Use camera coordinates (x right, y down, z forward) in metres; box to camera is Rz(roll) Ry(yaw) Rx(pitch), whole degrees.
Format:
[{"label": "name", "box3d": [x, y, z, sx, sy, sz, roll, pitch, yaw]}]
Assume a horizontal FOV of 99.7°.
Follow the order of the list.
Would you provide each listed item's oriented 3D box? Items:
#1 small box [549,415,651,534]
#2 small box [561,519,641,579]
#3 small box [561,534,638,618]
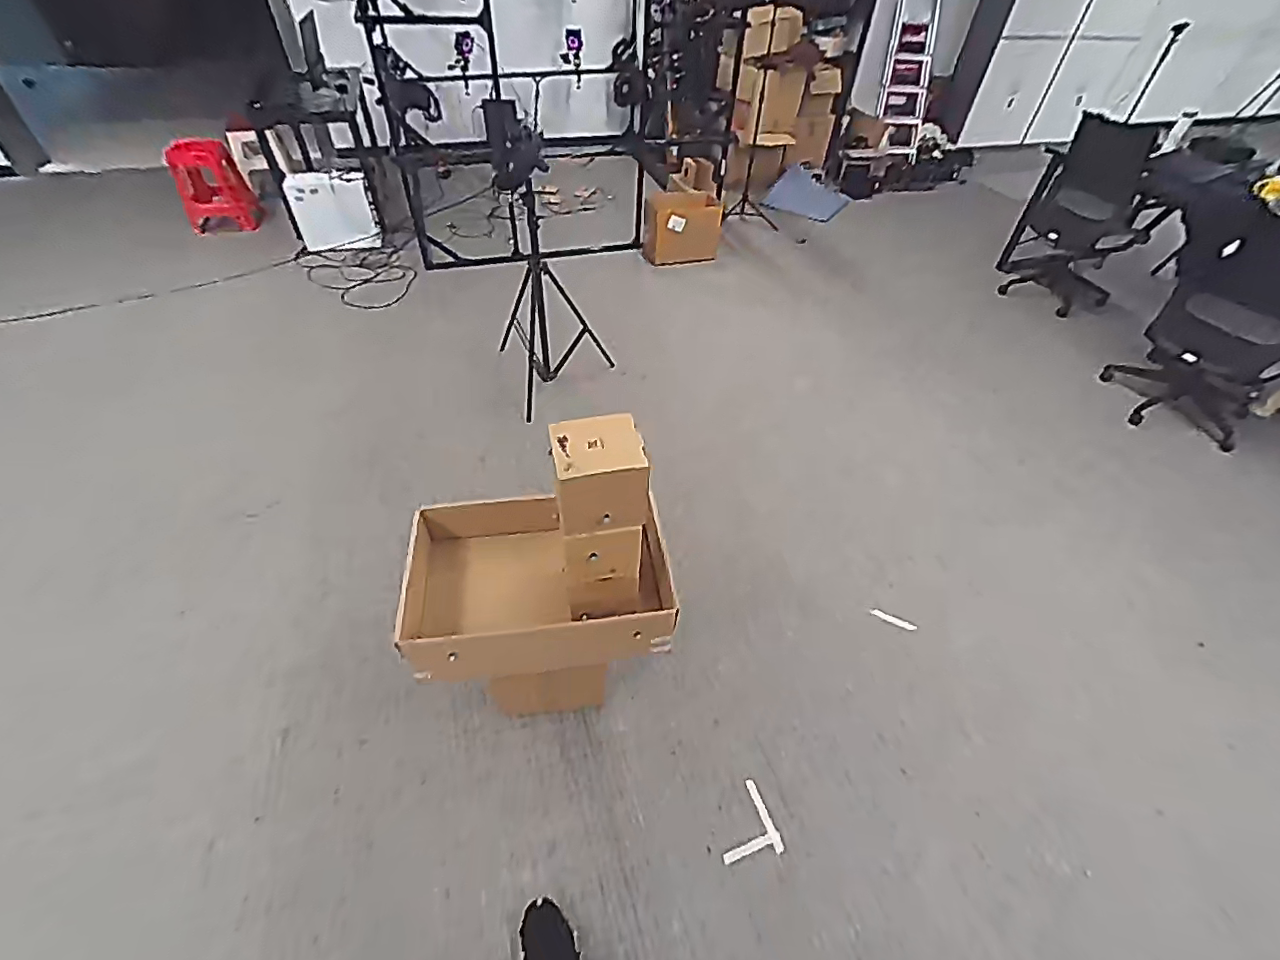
[{"label": "small box", "box3d": [-0.086, -0.010, 1.100, 0.179, 0.176, 0.168, -8, 45, -11]}, {"label": "small box", "box3d": [-0.094, 0.107, 1.213, 0.168, 0.176, 0.179, -7, 45, -10]}, {"label": "small box", "box3d": [-0.100, 0.223, 1.328, 0.168, 0.176, 0.179, -7, 45, -10]}]
